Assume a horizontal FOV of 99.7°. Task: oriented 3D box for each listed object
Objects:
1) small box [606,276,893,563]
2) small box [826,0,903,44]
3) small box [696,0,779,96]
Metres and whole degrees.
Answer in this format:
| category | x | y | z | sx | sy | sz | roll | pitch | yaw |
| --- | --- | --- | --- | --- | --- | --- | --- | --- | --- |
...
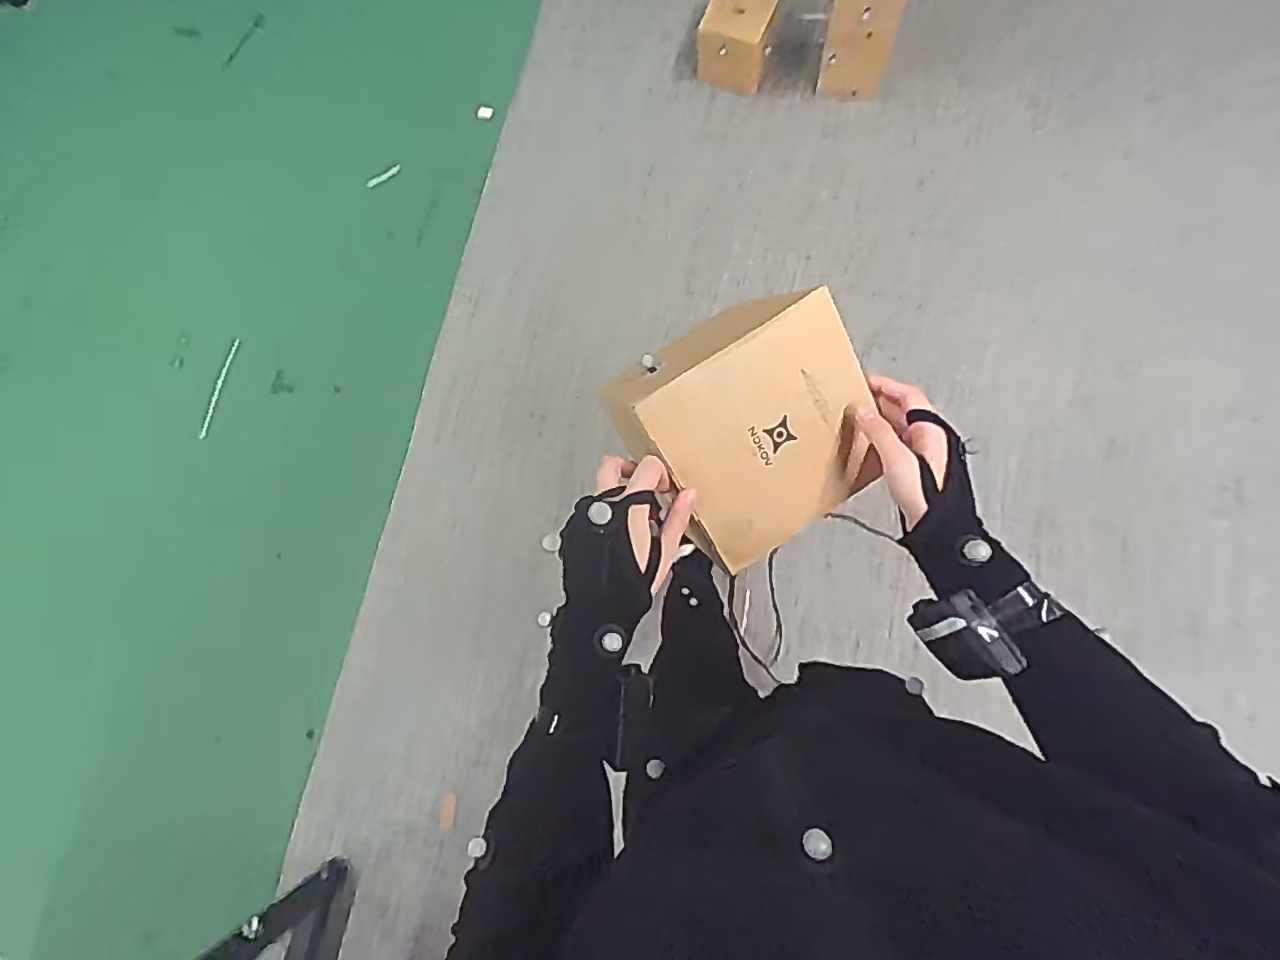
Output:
| category | x | y | z | sx | sy | sz | roll | pitch | yaw |
| --- | --- | --- | --- | --- | --- | --- | --- | --- | --- |
| small box | 0.082 | -0.059 | 0.492 | 0.179 | 0.176 | 0.168 | -32 | 108 | -6 |
| small box | 0.556 | -1.205 | 1.309 | 0.168 | 0.176 | 0.179 | 9 | 81 | 9 |
| small box | 0.274 | -1.231 | 1.522 | 0.179 | 0.176 | 0.168 | 23 | 84 | 13 |
